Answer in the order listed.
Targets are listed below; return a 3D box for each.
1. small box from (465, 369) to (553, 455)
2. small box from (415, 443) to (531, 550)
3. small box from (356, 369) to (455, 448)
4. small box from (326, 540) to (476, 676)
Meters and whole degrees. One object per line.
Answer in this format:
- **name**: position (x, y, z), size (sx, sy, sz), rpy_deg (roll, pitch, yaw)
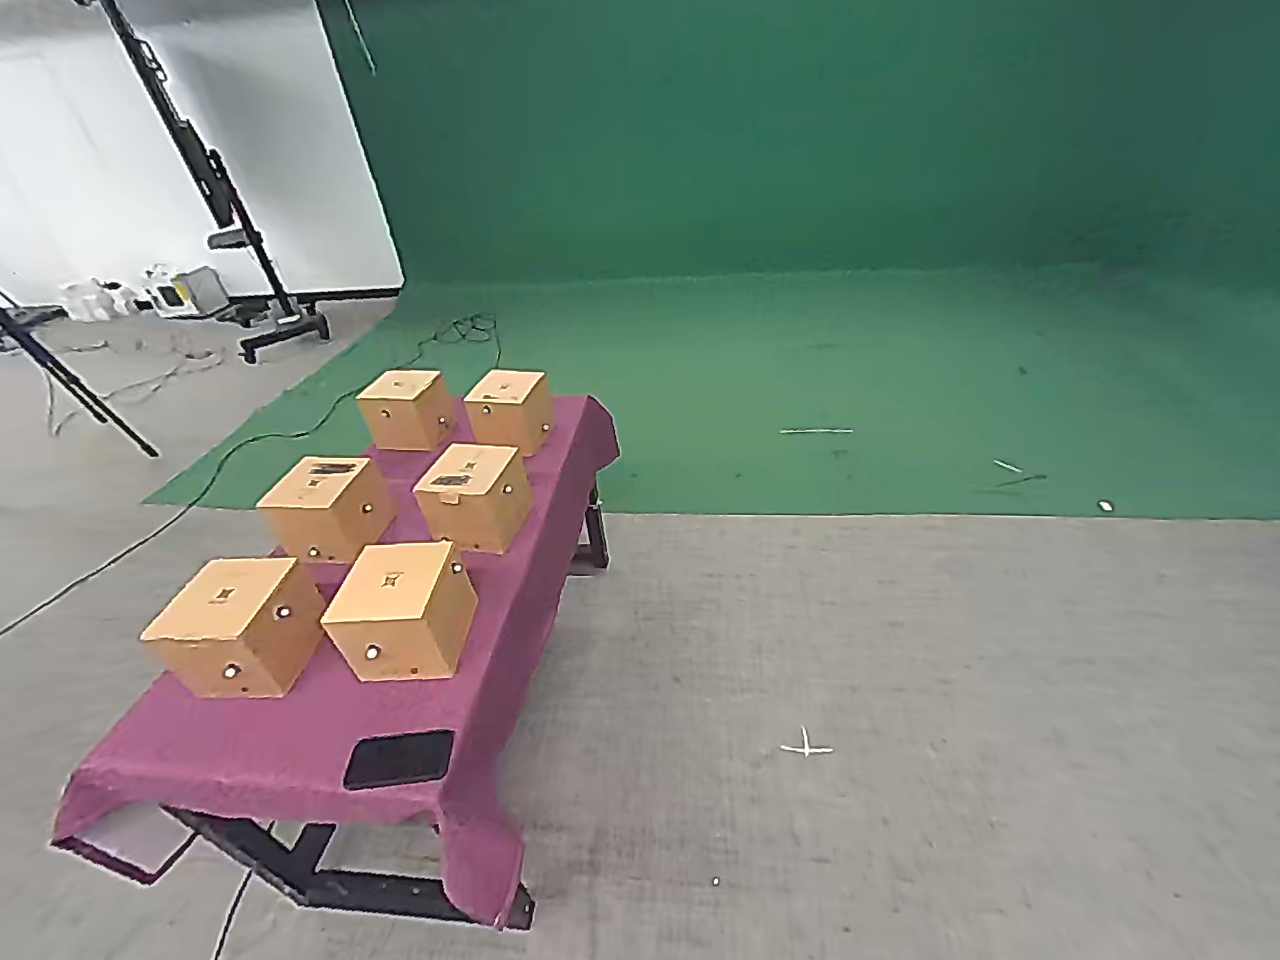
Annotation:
- **small box**: position (-0.351, -0.190, 1.490), size (0.168, 0.176, 0.179), rpy_deg (4, 38, 13)
- **small box**: position (-0.357, 0.036, 1.197), size (0.168, 0.176, 0.179), rpy_deg (4, 38, 12)
- **small box**: position (-0.660, -0.203, 1.544), size (0.179, 0.176, 0.168), rpy_deg (3, 39, 10)
- **small box**: position (-0.404, 0.229, 0.954), size (0.168, 0.176, 0.179), rpy_deg (-4, 36, 3)
